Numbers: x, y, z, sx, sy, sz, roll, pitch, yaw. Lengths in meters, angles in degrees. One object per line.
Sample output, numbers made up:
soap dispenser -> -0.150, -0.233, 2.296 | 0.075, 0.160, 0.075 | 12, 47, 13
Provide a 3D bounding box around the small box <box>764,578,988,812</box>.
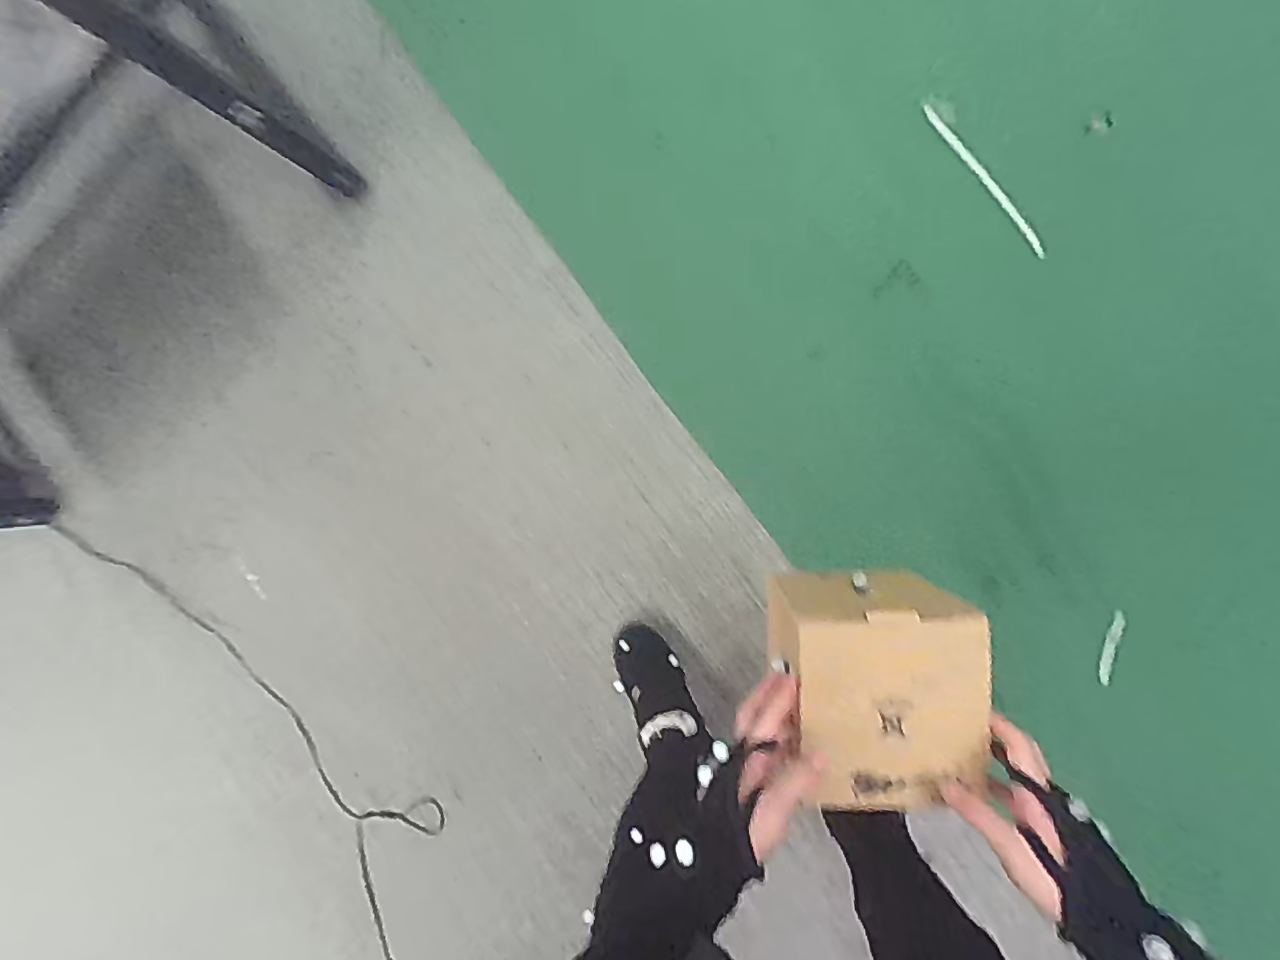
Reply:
small box -> 0.223, 0.201, 0.552 | 0.168, 0.176, 0.179 | -2, 95, 4
